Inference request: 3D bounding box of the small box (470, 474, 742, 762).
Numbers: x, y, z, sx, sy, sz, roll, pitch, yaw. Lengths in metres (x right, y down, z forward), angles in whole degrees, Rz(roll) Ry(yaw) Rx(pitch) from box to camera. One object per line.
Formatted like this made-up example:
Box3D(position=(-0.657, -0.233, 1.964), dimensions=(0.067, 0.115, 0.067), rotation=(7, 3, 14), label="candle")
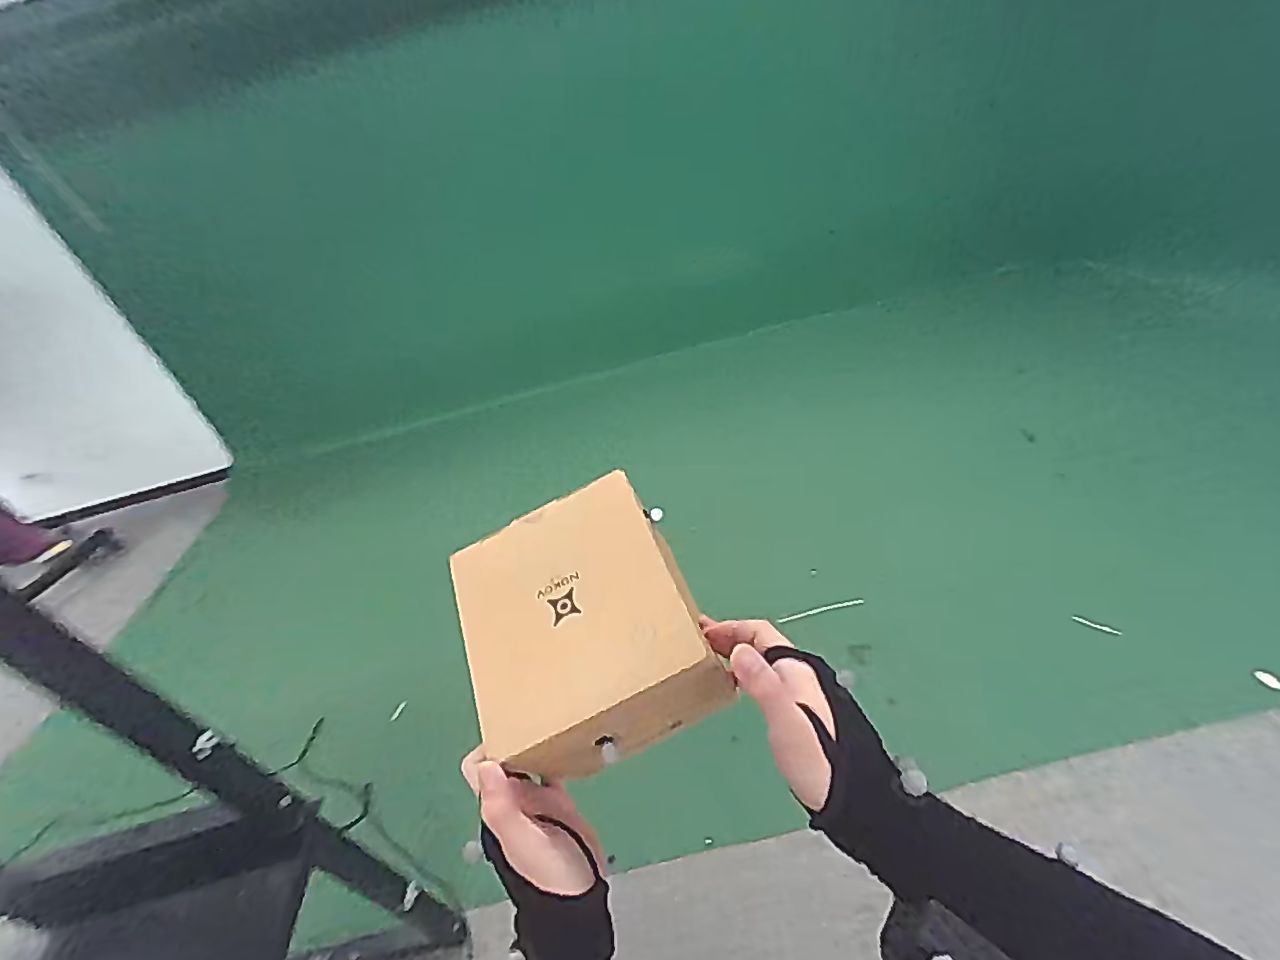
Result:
Box3D(position=(-0.023, 0.132, 0.484), dimensions=(0.168, 0.176, 0.179), rotation=(-27, 55, 1), label="small box")
